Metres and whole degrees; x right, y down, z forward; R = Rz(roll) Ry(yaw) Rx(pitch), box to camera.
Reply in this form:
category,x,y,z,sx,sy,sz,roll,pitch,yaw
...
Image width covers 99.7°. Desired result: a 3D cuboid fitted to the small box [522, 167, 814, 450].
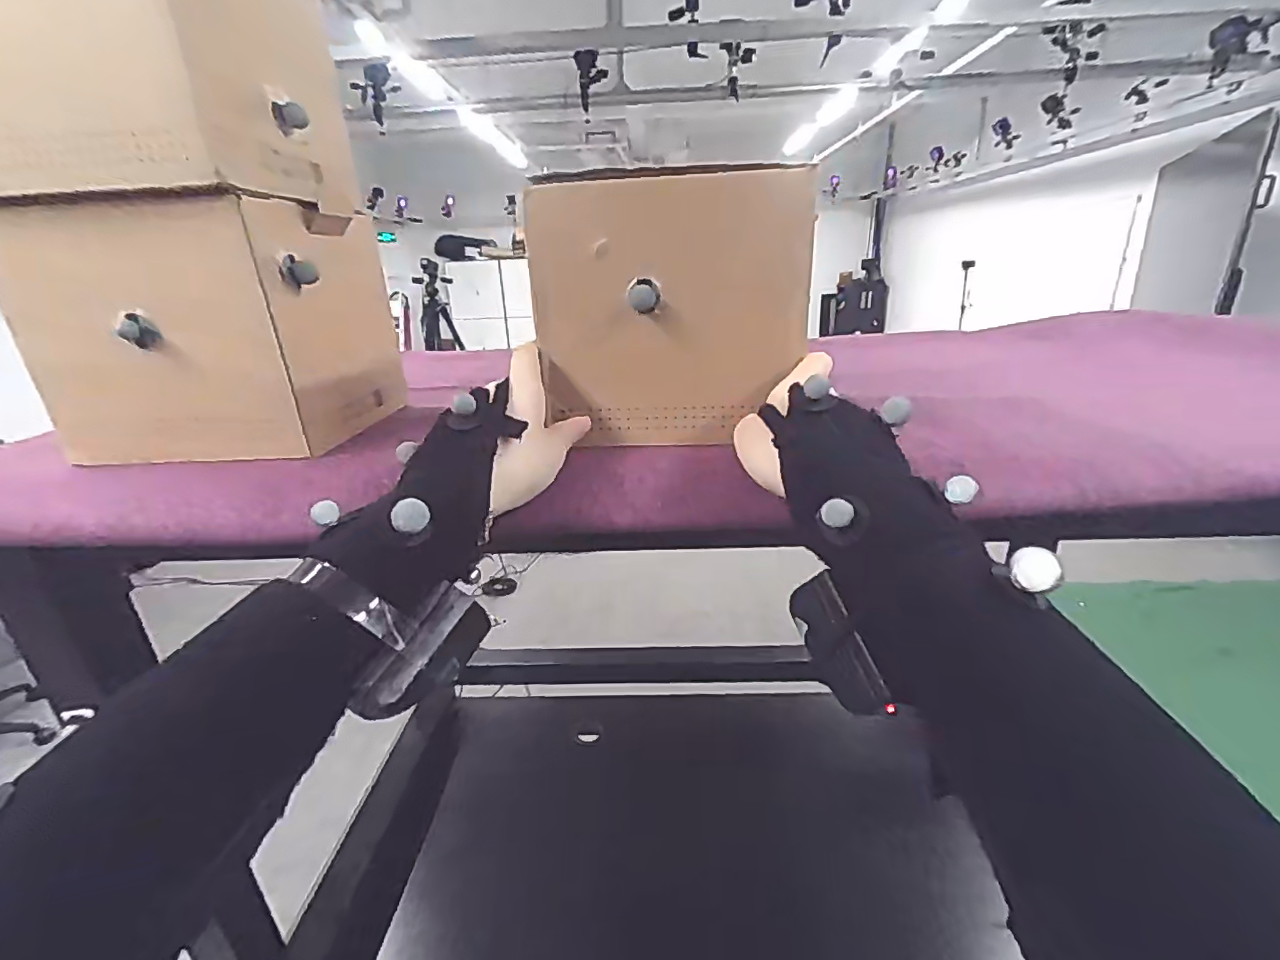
category,x,y,z,sx,sy,sz,roll,pitch,yaw
small box,0.026,-0.124,0.416,0.179,0.176,0.168,-1,21,5

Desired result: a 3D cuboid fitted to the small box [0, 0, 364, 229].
category,x,y,z,sx,sy,sz,roll,pitch,yaw
small box,-0.318,-0.264,0.355,0.179,0.176,0.168,-1,21,2
